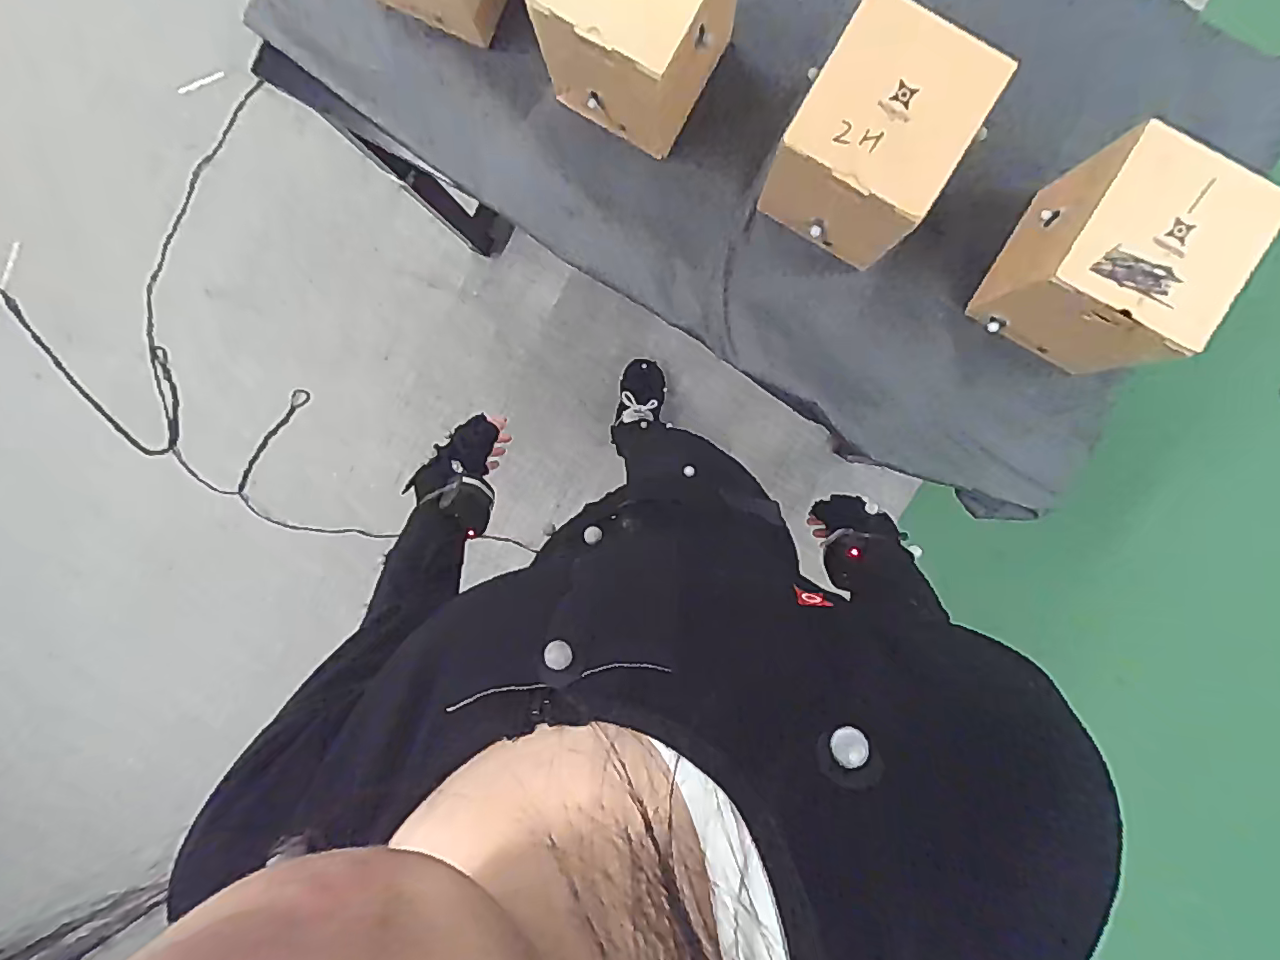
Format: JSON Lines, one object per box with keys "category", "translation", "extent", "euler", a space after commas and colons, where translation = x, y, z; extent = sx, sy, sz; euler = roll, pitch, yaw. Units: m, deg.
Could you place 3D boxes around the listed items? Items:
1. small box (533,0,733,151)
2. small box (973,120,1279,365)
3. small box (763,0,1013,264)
{"category": "small box", "translation": [-0.001, -0.530, 0.617], "extent": [0.168, 0.176, 0.179], "euler": [30, 97, -1]}
{"category": "small box", "translation": [0.527, -0.249, 0.620], "extent": [0.168, 0.176, 0.179], "euler": [29, 95, -1]}
{"category": "small box", "translation": [0.260, -0.384, 0.619], "extent": [0.168, 0.176, 0.179], "euler": [31, 96, 0]}
